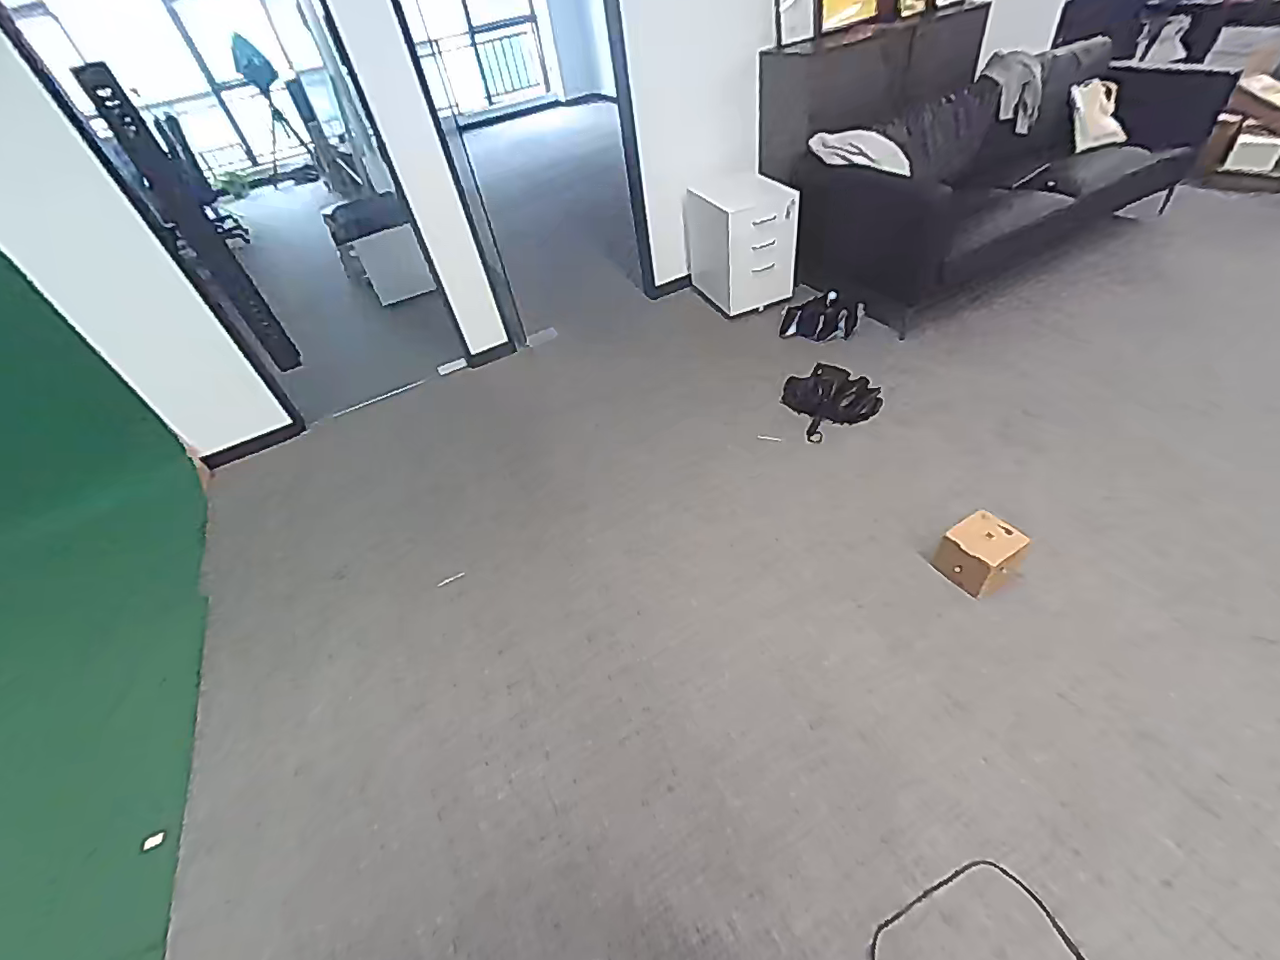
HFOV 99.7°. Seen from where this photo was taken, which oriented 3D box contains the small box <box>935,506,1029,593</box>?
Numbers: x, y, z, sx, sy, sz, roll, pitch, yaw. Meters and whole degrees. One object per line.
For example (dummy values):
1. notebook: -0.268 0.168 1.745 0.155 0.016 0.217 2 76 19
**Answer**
1. small box: 1.052 0.219 1.683 0.179 0.176 0.168 -28 47 -15
